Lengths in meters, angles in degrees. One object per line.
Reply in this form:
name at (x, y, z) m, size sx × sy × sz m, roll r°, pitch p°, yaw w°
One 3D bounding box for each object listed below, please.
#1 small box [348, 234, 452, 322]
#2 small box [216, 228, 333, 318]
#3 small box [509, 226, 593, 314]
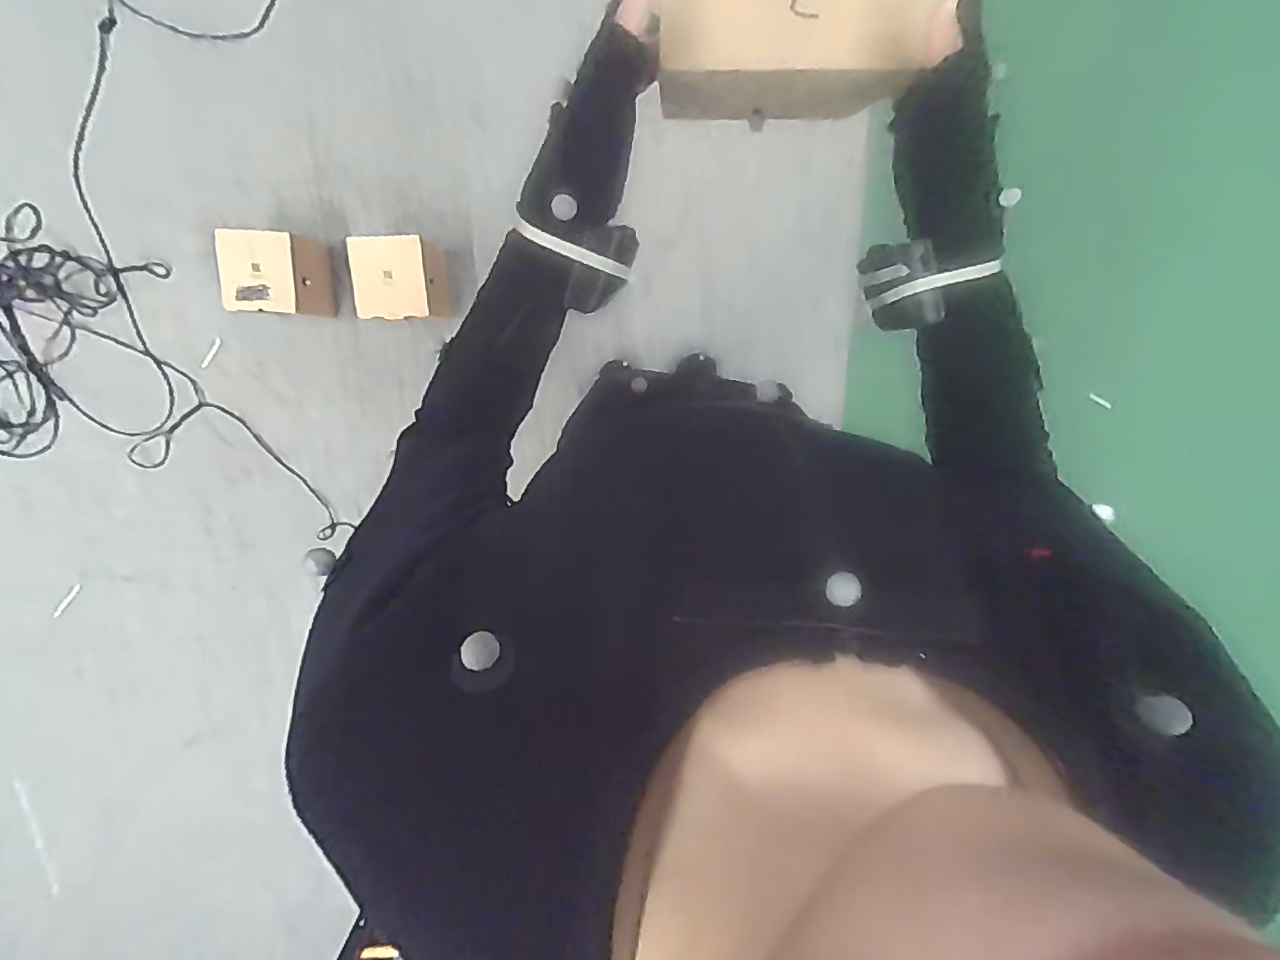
small box at (-0.564, -0.475, 1.290) m, size 0.168 × 0.176 × 0.179 m, roll -2°, pitch 104°, yaw 0°
small box at (-0.854, -0.483, 1.283) m, size 0.168 × 0.176 × 0.179 m, roll 3°, pitch 103°, yaw -1°
small box at (-0.204, -0.491, 1.288) m, size 0.168 × 0.176 × 0.179 m, roll -4°, pitch 104°, yaw -1°
